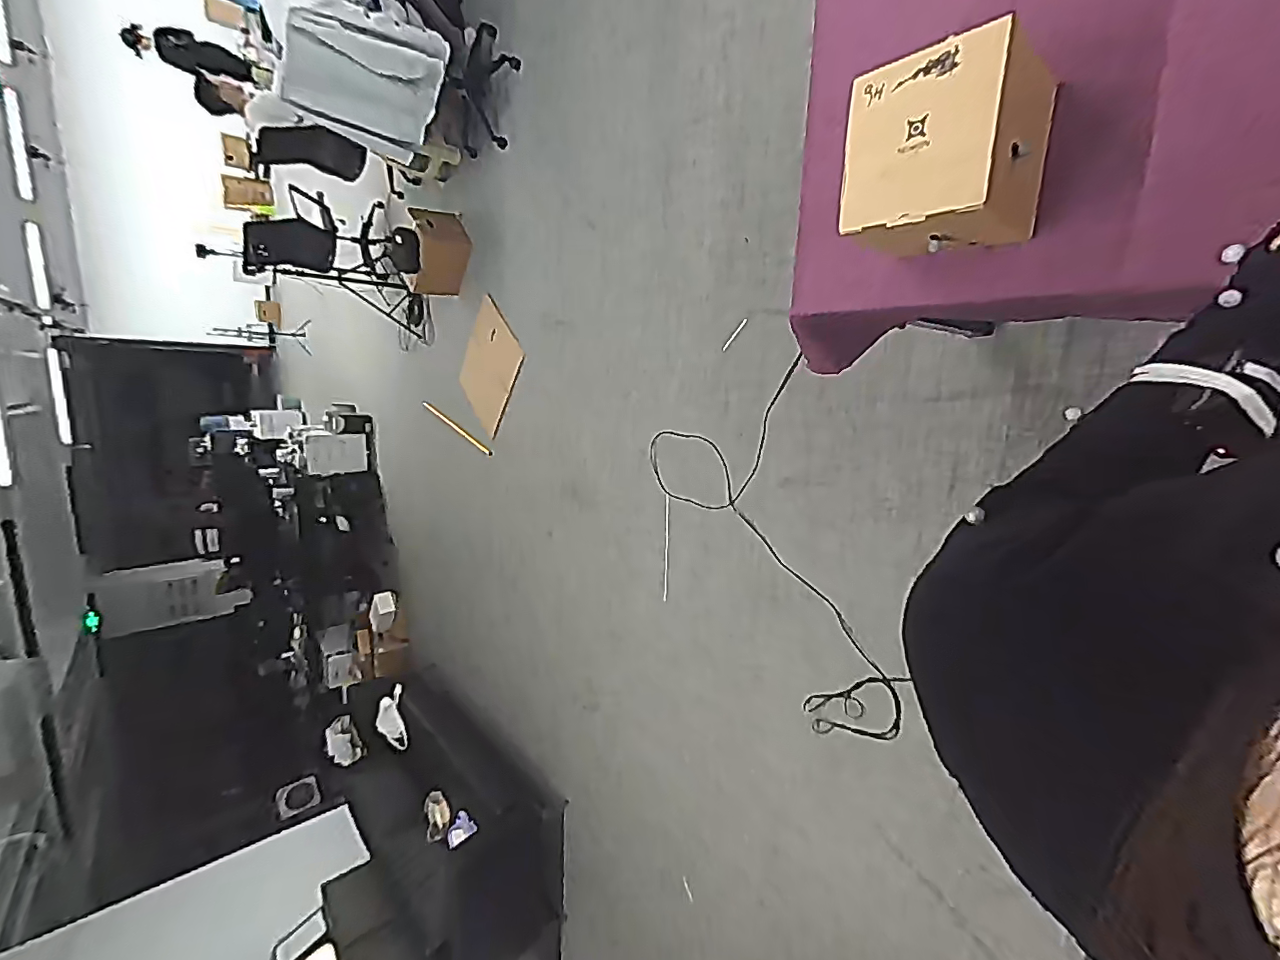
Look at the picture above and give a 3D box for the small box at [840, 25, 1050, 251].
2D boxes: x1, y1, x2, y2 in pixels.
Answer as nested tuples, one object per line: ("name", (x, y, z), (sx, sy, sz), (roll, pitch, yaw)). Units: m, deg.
("small box", (0.368, -0.386, 0.656), (0.168, 0.176, 0.179), (15, 106, 48))
